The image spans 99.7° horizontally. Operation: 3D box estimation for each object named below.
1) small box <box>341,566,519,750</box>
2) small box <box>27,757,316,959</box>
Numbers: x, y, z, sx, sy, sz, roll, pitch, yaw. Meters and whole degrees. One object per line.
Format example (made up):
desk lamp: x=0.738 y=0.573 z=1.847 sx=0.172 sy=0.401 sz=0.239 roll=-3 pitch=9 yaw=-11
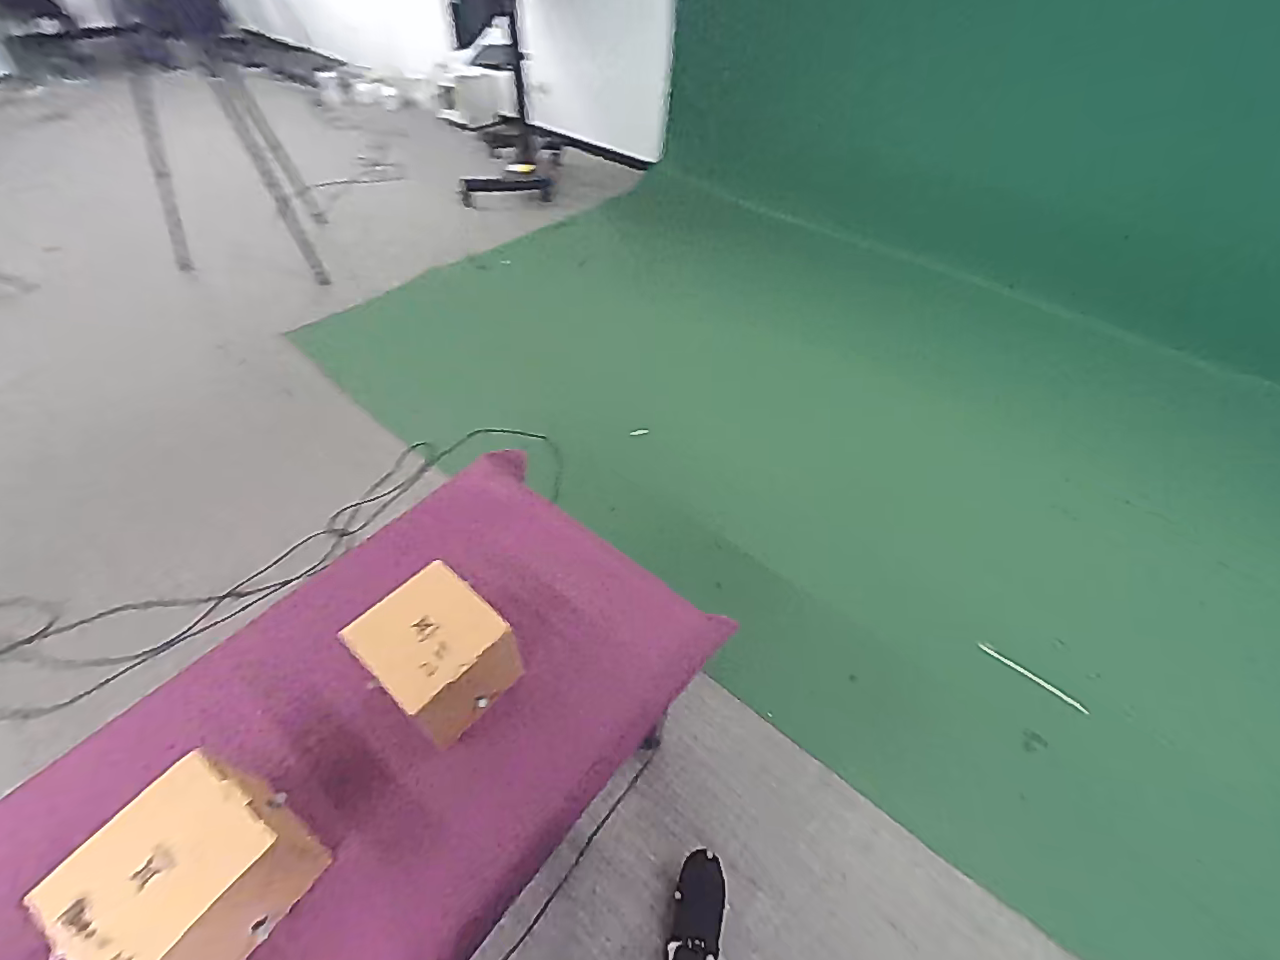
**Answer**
small box: x=-0.308 y=0.272 z=0.821 sx=0.179 sy=0.176 sz=0.168 roll=33 pitch=55 yaw=24
small box: x=-0.517 y=0.471 z=0.632 sx=0.168 sy=0.176 sz=0.179 roll=28 pitch=52 yaw=20
